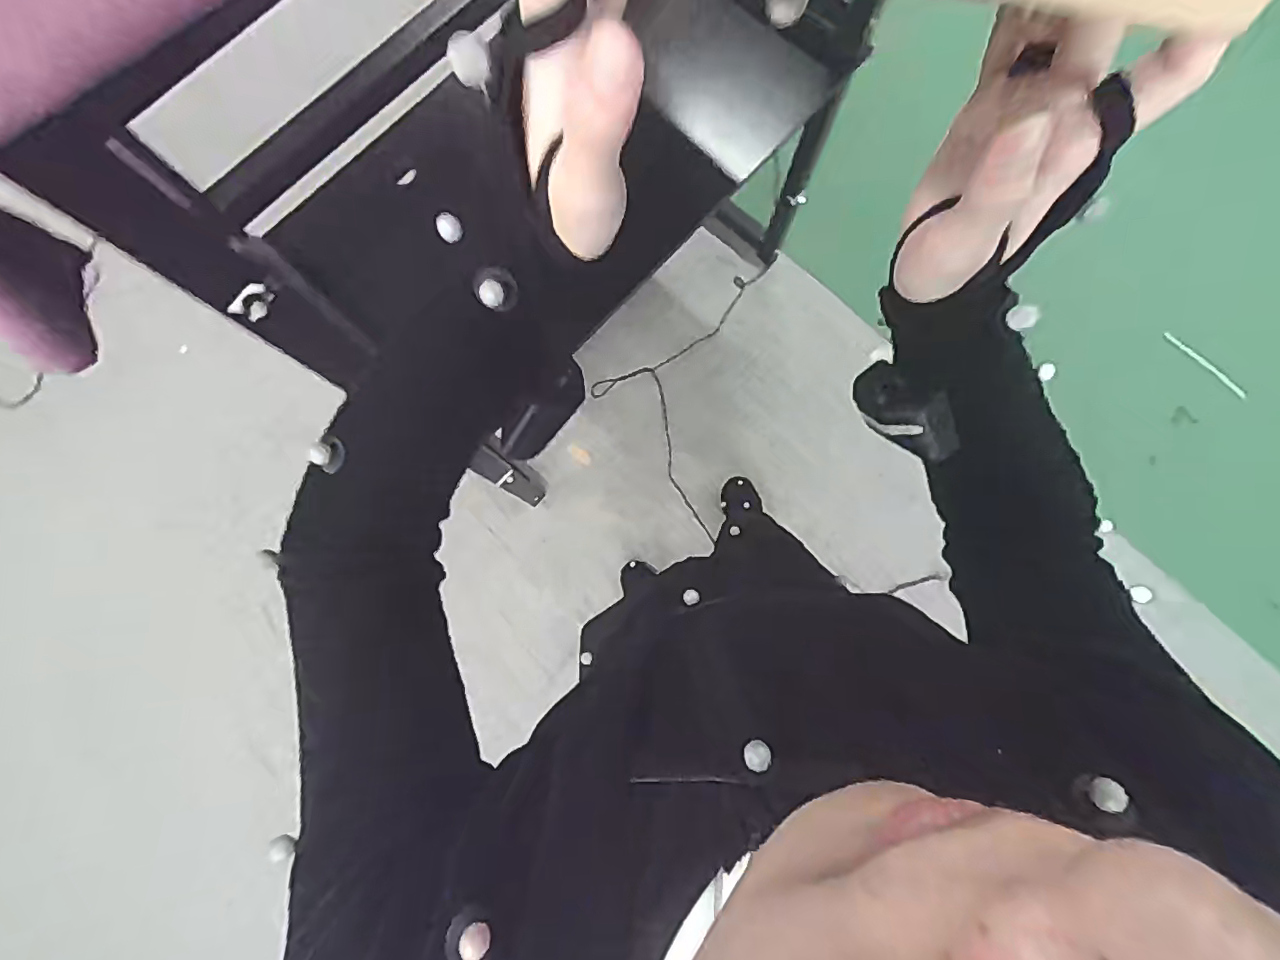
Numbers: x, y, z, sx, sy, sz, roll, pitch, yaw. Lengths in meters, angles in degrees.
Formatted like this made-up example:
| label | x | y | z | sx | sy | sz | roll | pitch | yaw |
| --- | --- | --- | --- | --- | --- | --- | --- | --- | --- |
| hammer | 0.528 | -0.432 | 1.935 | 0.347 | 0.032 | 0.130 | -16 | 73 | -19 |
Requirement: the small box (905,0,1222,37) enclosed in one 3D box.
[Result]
| label | x | y | z | sx | sy | sz | roll | pitch | yaw |
| --- | --- | --- | --- | --- | --- | --- | --- | --- | --- |
| small box | 0.086 | -0.245 | 0.139 | 0.168 | 0.179 | 0.176 | 10 | 42 | -1 |
